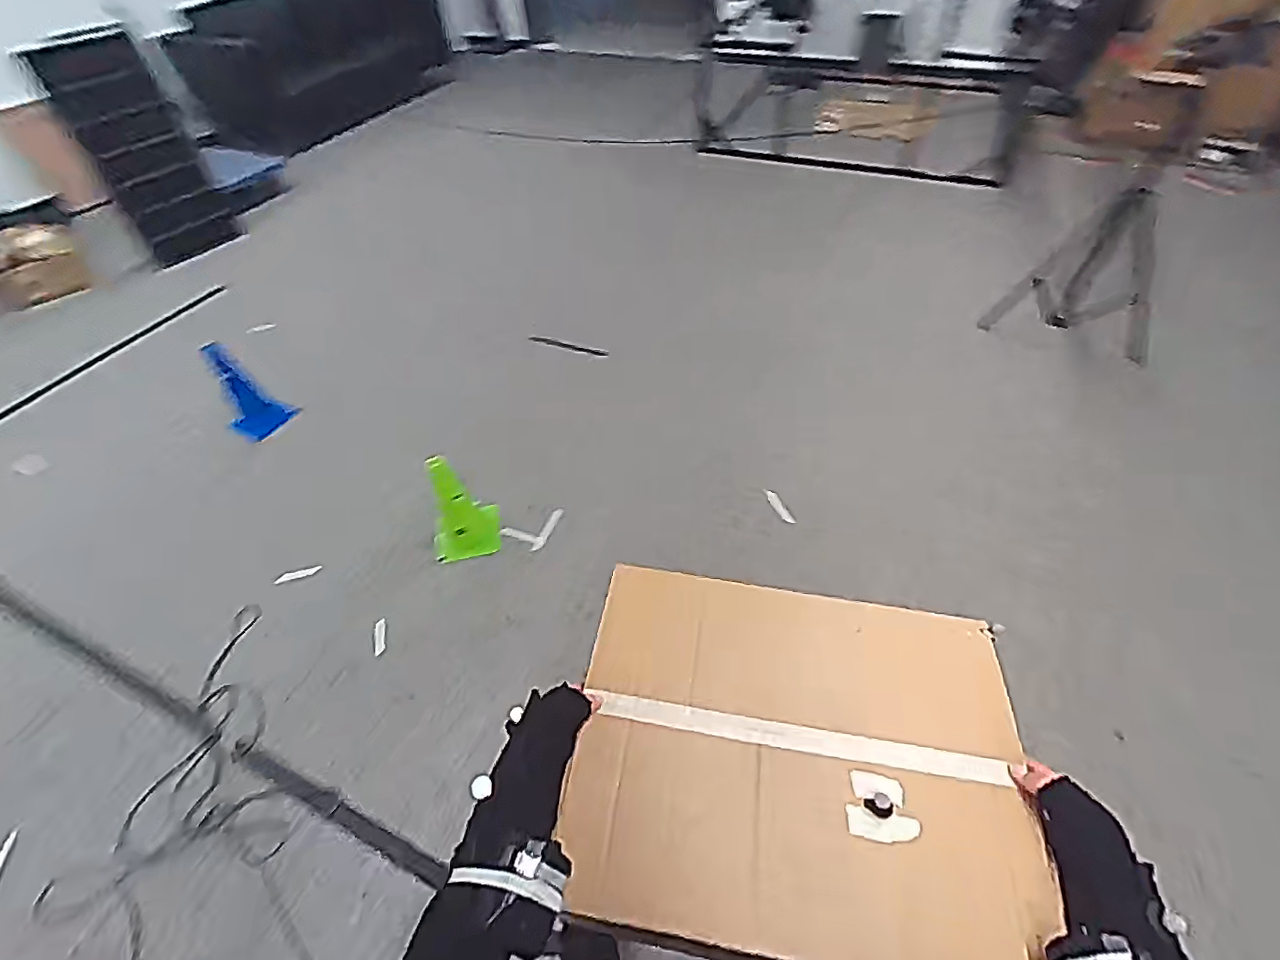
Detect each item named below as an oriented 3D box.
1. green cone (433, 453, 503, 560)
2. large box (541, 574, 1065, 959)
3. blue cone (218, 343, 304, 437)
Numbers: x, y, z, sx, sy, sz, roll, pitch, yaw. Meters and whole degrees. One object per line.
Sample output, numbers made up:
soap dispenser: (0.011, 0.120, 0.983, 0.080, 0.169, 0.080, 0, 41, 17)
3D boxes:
green cone: (-0.566, 0.058, 1.684, 0.200, 0.368, 0.202, -11, 48, -8)
large box: (0.132, 0.341, 0.612, 0.408, 0.320, 0.320, 7, 48, 5)
blue cone: (-1.526, -0.363, 2.110, 0.193, 0.380, 0.192, 20, 52, 19)
